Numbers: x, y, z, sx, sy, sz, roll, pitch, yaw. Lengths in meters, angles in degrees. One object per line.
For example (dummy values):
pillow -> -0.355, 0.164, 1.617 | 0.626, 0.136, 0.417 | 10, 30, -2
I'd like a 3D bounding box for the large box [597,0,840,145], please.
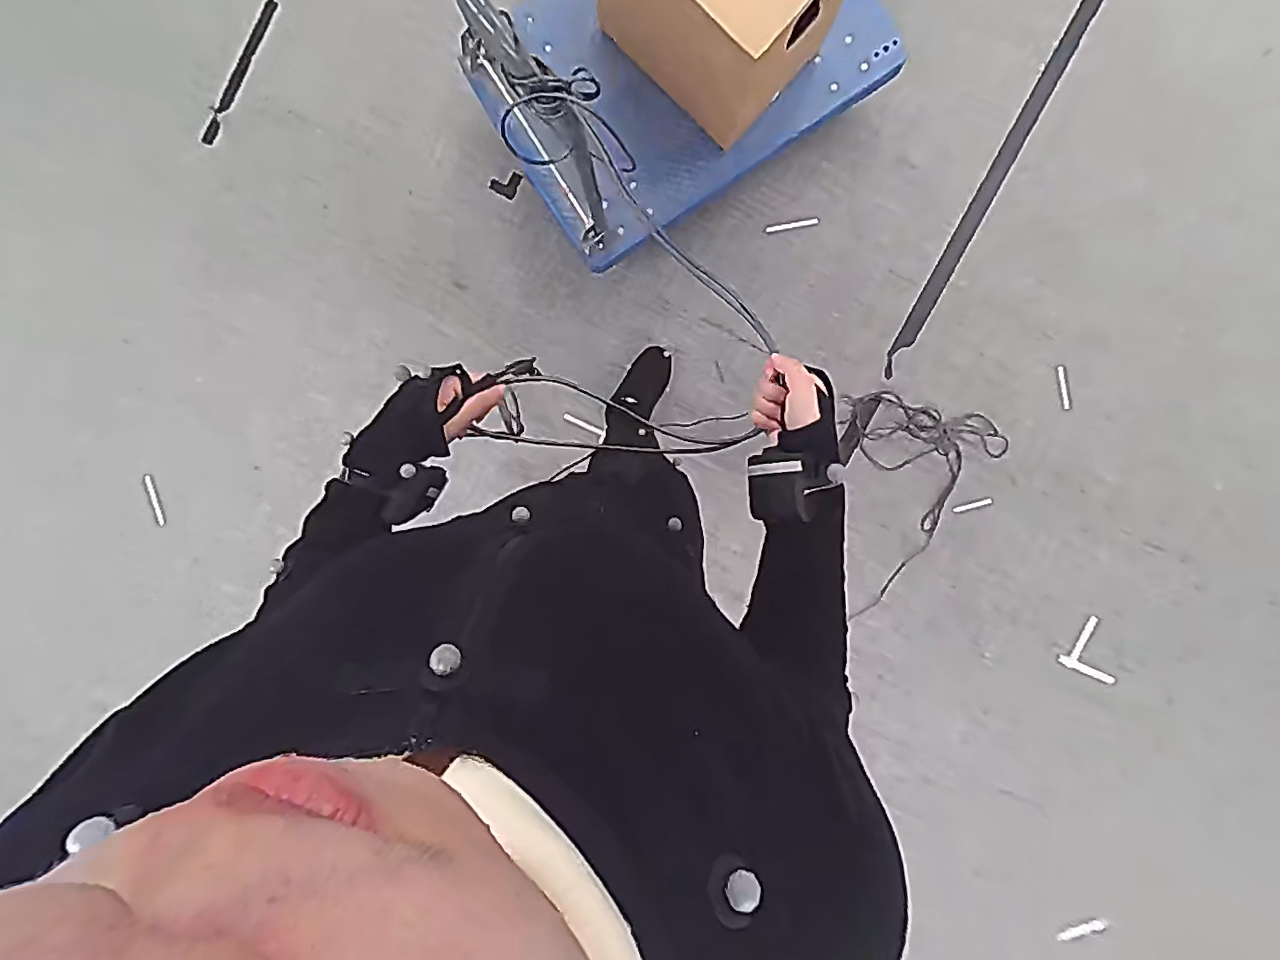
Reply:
large box -> 0.155, -0.981, 1.056 | 0.408, 0.320, 0.320 | 42, 95, -5
